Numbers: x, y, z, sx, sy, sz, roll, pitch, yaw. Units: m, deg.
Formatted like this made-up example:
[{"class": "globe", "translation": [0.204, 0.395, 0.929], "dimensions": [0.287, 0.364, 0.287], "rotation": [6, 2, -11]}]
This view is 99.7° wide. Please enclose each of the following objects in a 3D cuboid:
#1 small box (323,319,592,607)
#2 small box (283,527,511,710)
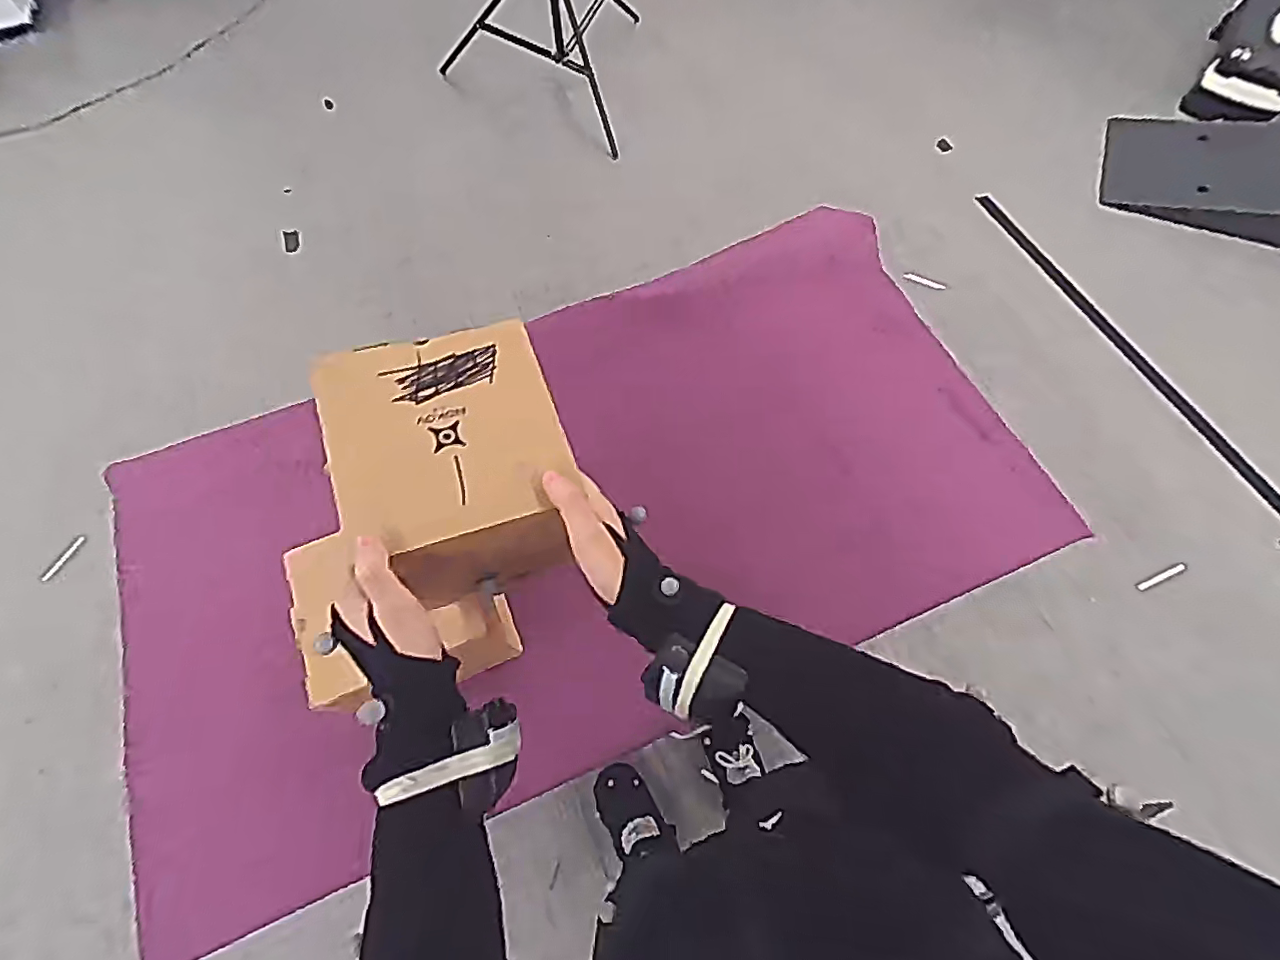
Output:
[{"class": "small box", "translation": [-0.152, -0.008, 0.477], "dimensions": [0.168, 0.176, 0.179], "rotation": [-16, 69, -16]}, {"class": "small box", "translation": [-0.260, 0.145, 0.620], "dimensions": [0.179, 0.176, 0.168], "rotation": [-23, 68, -8]}]
